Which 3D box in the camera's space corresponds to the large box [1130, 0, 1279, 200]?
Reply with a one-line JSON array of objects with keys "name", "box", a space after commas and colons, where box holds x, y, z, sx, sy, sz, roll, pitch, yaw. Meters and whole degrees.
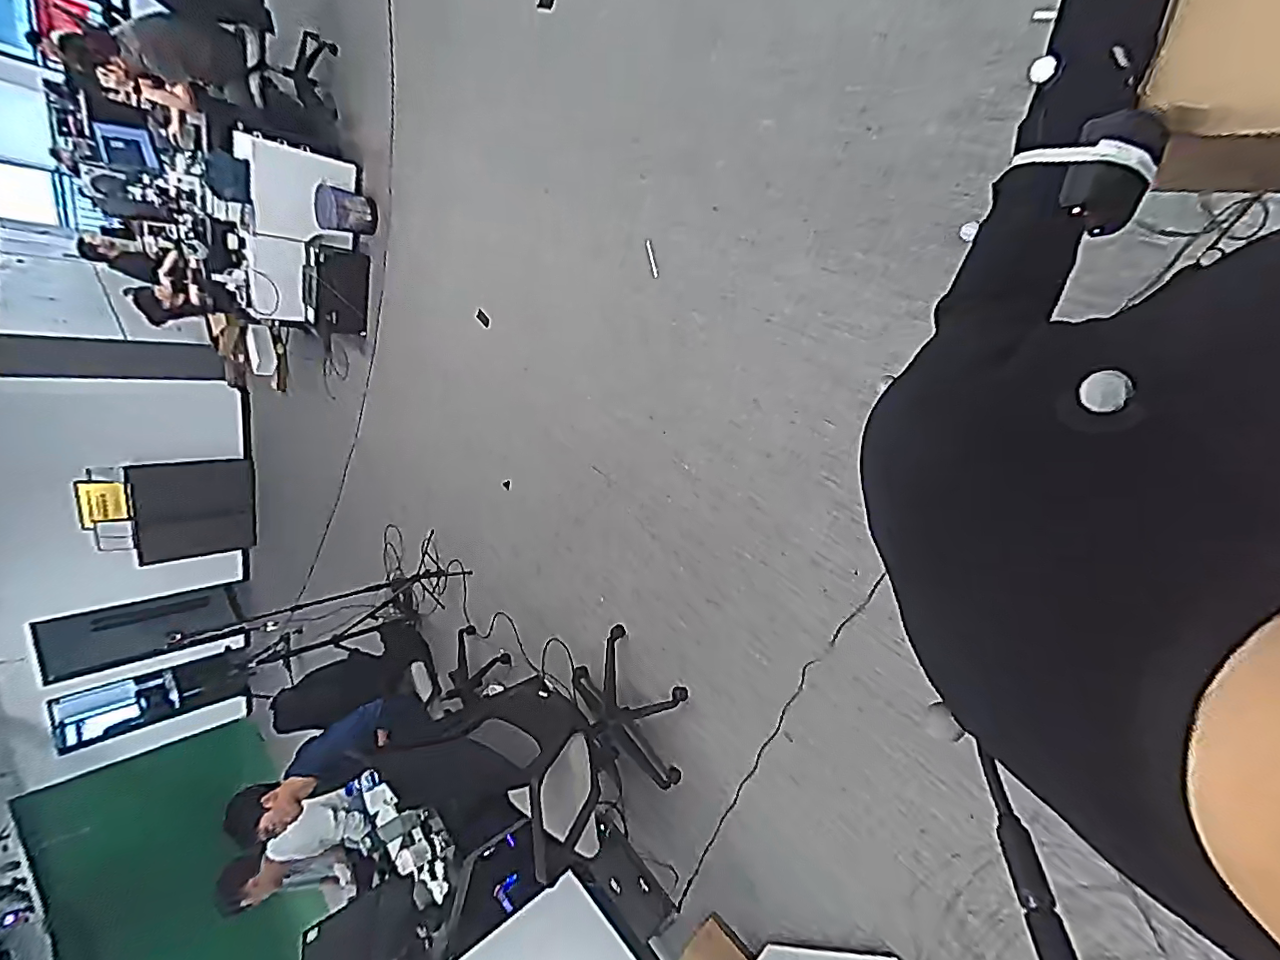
[{"name": "large box", "box": [0.626, -0.368, 0.339, 0.408, 0.320, 0.320, 24, 120, 37]}]
